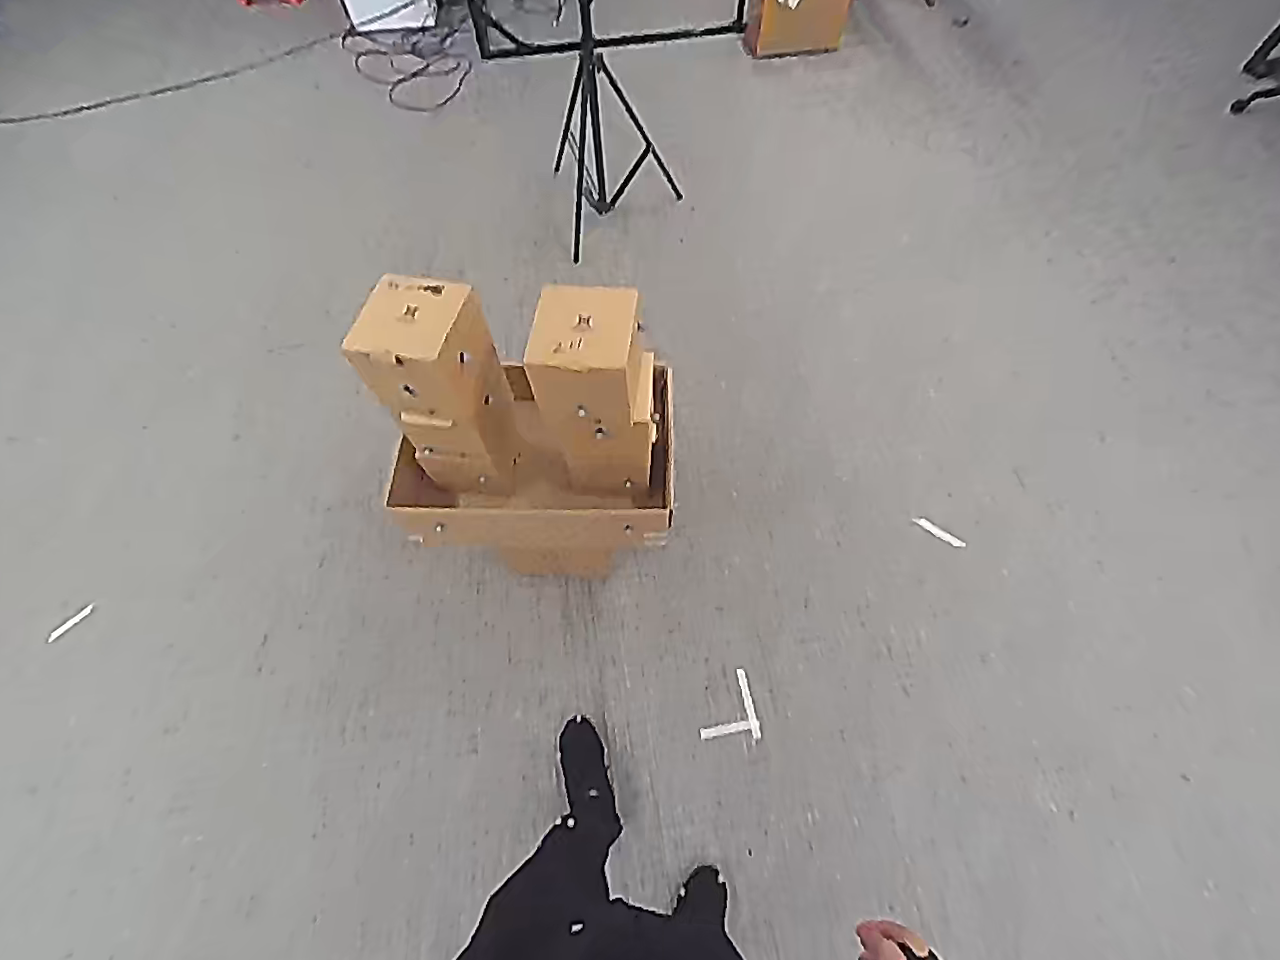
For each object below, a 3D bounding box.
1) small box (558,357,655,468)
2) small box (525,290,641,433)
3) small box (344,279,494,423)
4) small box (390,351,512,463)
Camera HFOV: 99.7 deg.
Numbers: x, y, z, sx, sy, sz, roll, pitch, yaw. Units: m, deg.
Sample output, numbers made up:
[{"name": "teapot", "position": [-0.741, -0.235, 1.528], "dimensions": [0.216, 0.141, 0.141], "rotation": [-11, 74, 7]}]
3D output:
[{"name": "small box", "position": [-0.060, -0.134, 1.097], "dimensions": [0.179, 0.176, 0.168], "rotation": [2, 62, 4]}, {"name": "small box", "position": [-0.089, -0.206, 0.950], "dimensions": [0.168, 0.176, 0.179], "rotation": [5, 62, 6]}, {"name": "small box", "position": [-0.378, -0.224, 0.966], "dimensions": [0.168, 0.176, 0.179], "rotation": [10, 63, 7]}, {"name": "small box", "position": [-0.376, -0.152, 1.114], "dimensions": [0.168, 0.176, 0.179], "rotation": [7, 62, 5]}]
